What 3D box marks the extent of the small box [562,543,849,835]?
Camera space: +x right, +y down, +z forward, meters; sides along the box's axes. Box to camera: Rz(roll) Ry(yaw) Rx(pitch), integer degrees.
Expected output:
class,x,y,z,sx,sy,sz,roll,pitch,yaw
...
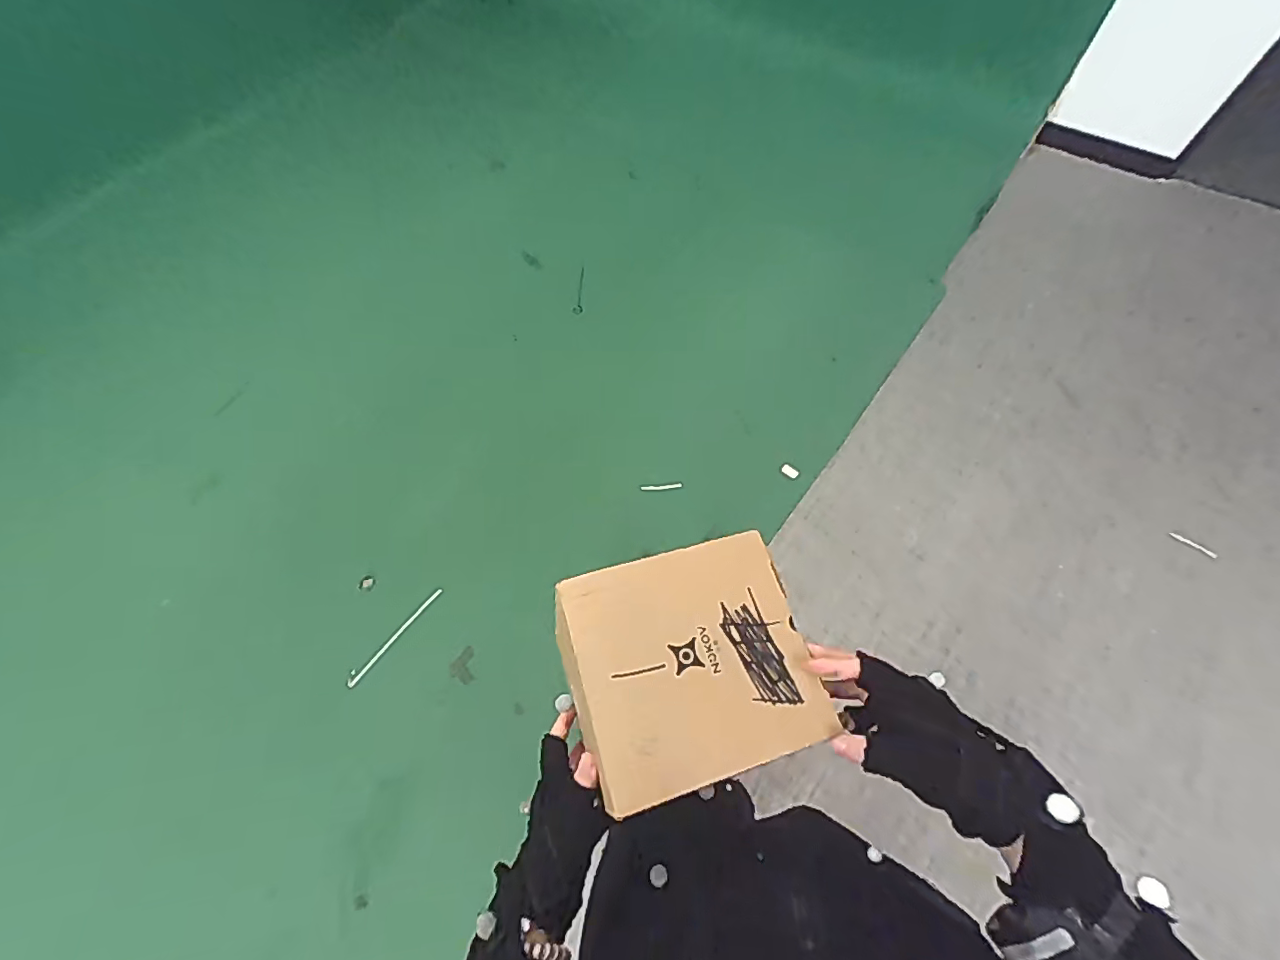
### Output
class,x,y,z,sx,sy,sz,roll,pitch,yaw
small box,0.034,0.173,0.458,0.179,0.176,0.168,-11,63,-13
